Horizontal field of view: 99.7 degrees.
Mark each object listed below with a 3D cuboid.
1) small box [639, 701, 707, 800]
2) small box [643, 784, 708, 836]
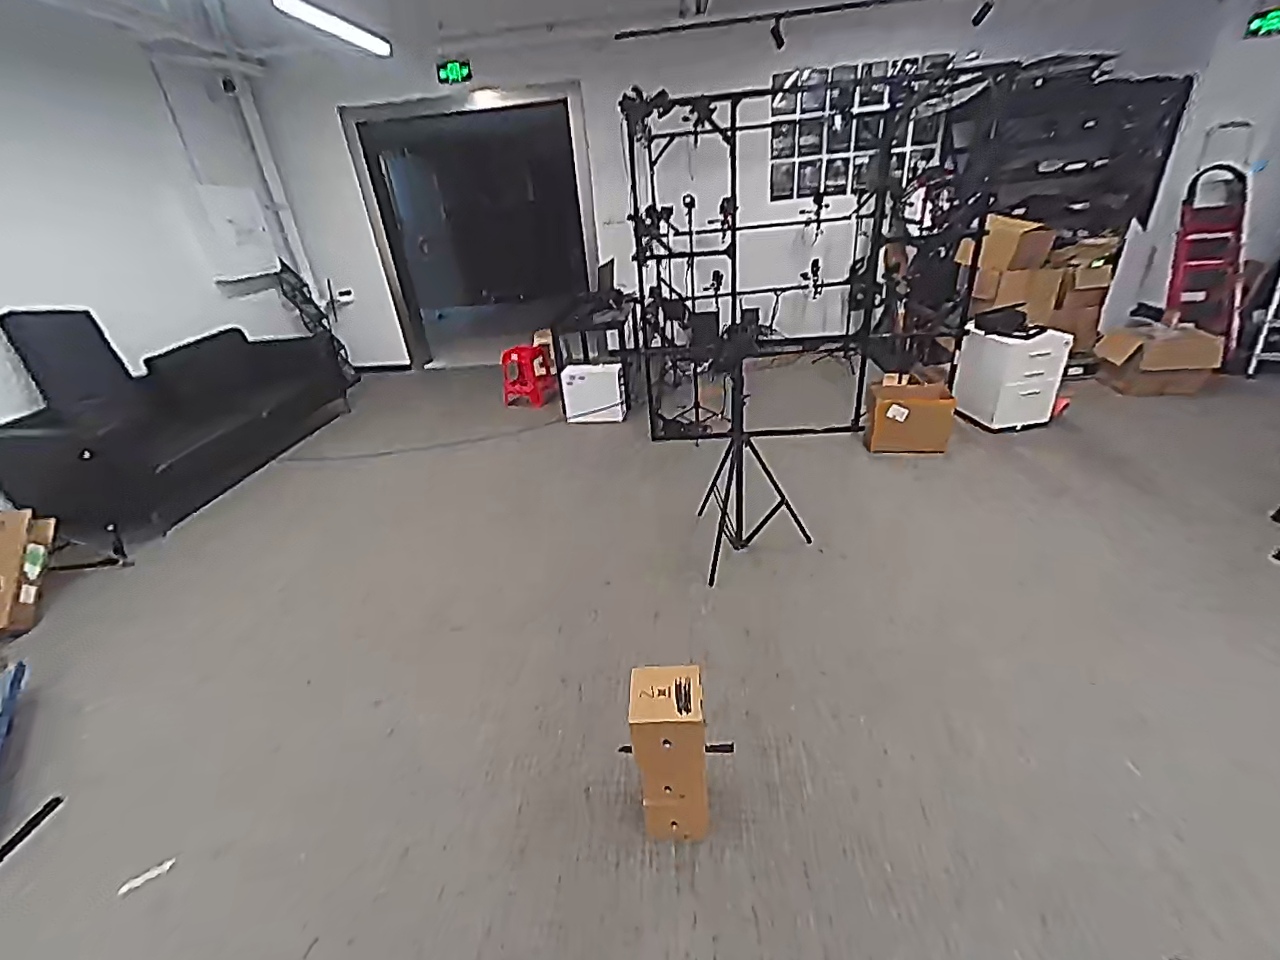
[{"bbox_3d":[0.091,0.717,1.442,0.168,0.176,0.179,-3,28,6],"label":"small box"},{"bbox_3d":[0.101,0.865,1.510,0.168,0.176,0.179,-3,27,4],"label":"small box"}]
